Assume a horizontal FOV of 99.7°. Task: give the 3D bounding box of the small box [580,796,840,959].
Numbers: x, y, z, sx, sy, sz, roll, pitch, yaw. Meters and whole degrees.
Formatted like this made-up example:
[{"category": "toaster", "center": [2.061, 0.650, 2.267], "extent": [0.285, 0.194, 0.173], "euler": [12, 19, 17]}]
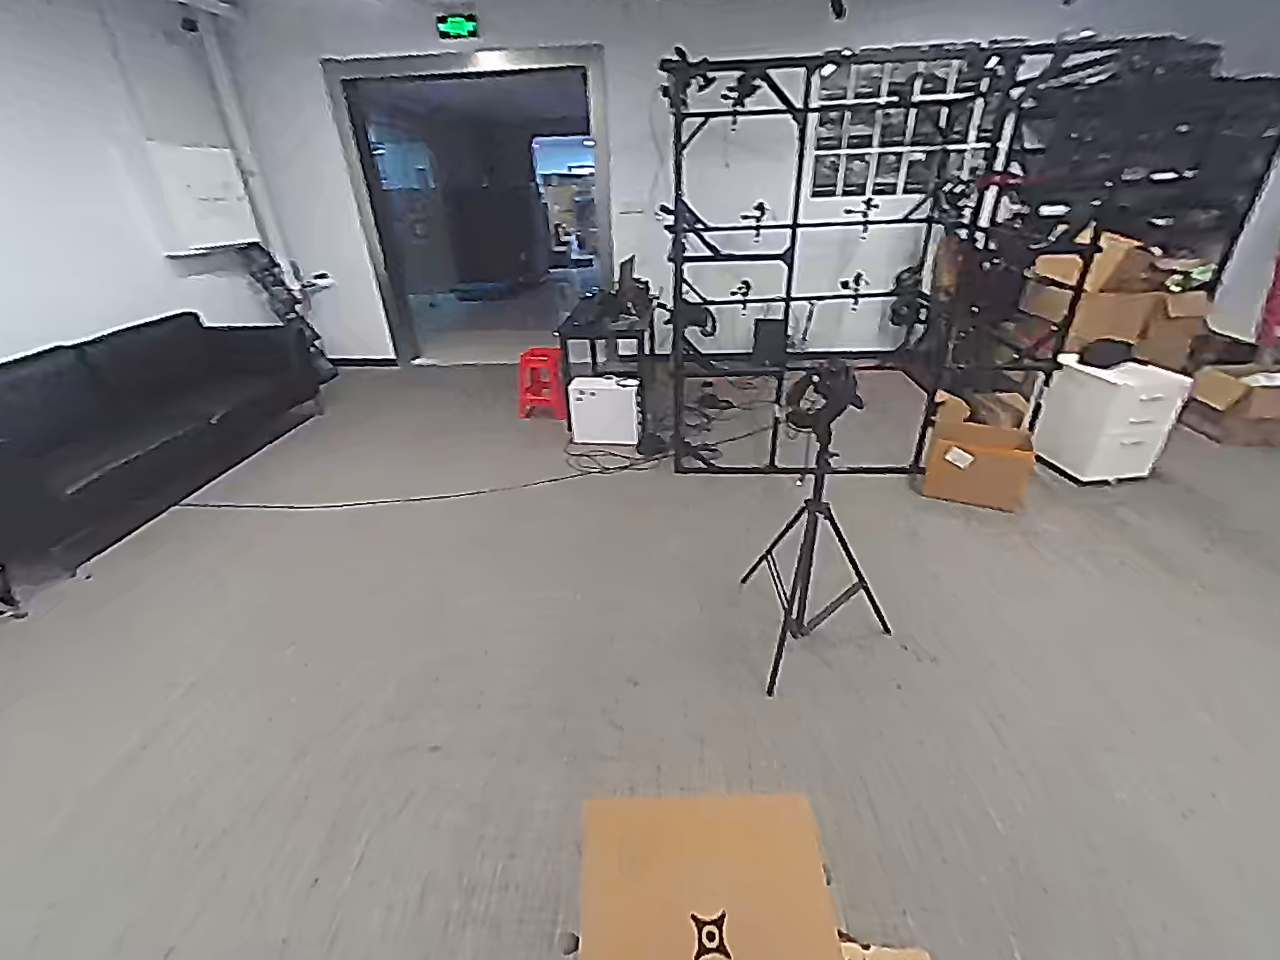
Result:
[{"category": "small box", "center": [0.040, 0.351, 0.393], "extent": [0.168, 0.176, 0.179], "euler": [0, 46, -2]}]
